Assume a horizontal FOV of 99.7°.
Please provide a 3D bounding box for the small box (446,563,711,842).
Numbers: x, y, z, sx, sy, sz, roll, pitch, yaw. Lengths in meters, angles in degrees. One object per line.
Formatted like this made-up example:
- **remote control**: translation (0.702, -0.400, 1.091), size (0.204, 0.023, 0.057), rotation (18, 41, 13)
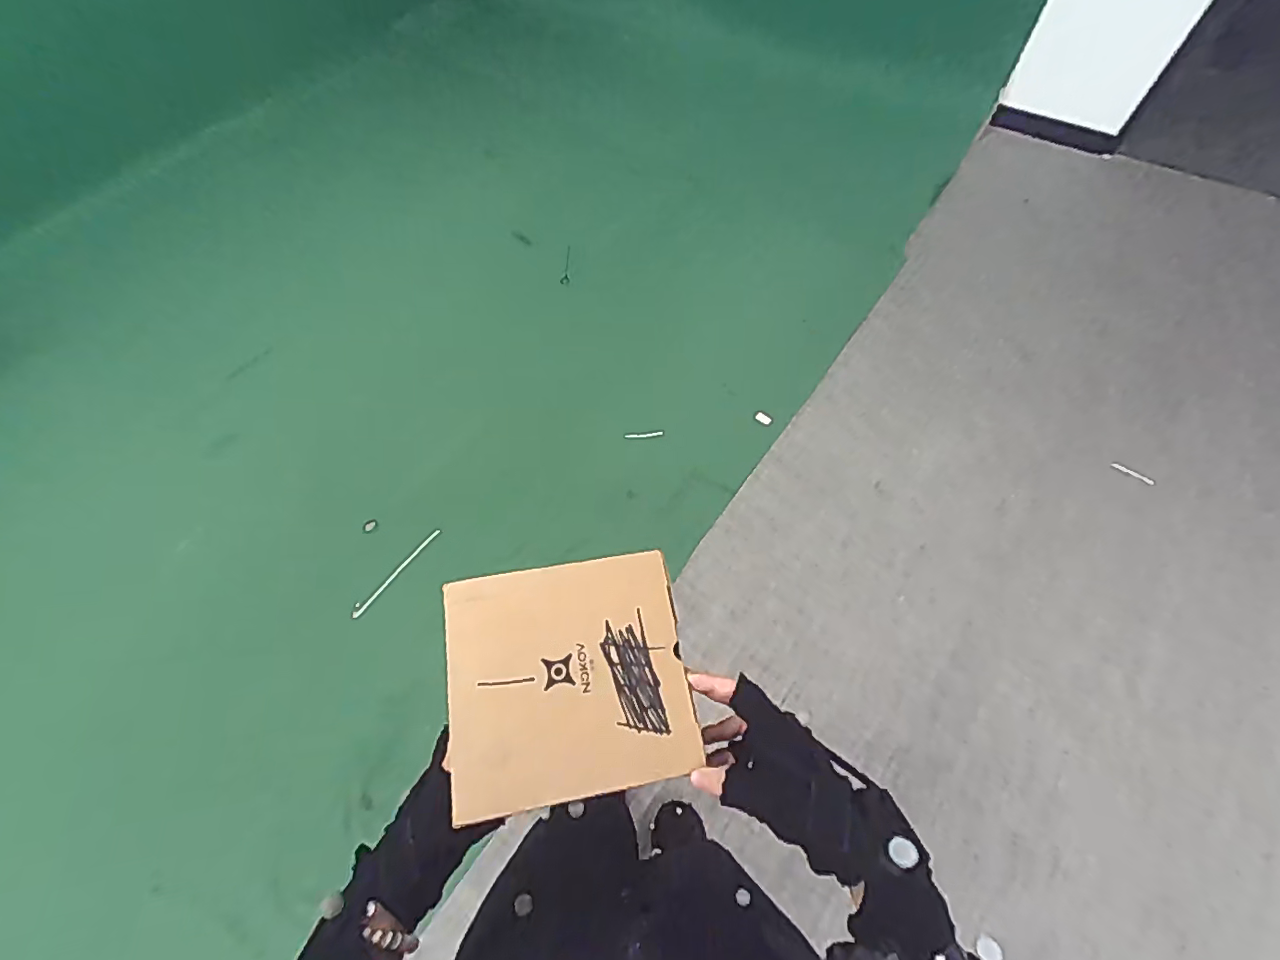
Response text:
- **small box**: translation (-0.056, 0.182, 0.457), size (0.179, 0.176, 0.168), rotation (-7, 64, -9)
